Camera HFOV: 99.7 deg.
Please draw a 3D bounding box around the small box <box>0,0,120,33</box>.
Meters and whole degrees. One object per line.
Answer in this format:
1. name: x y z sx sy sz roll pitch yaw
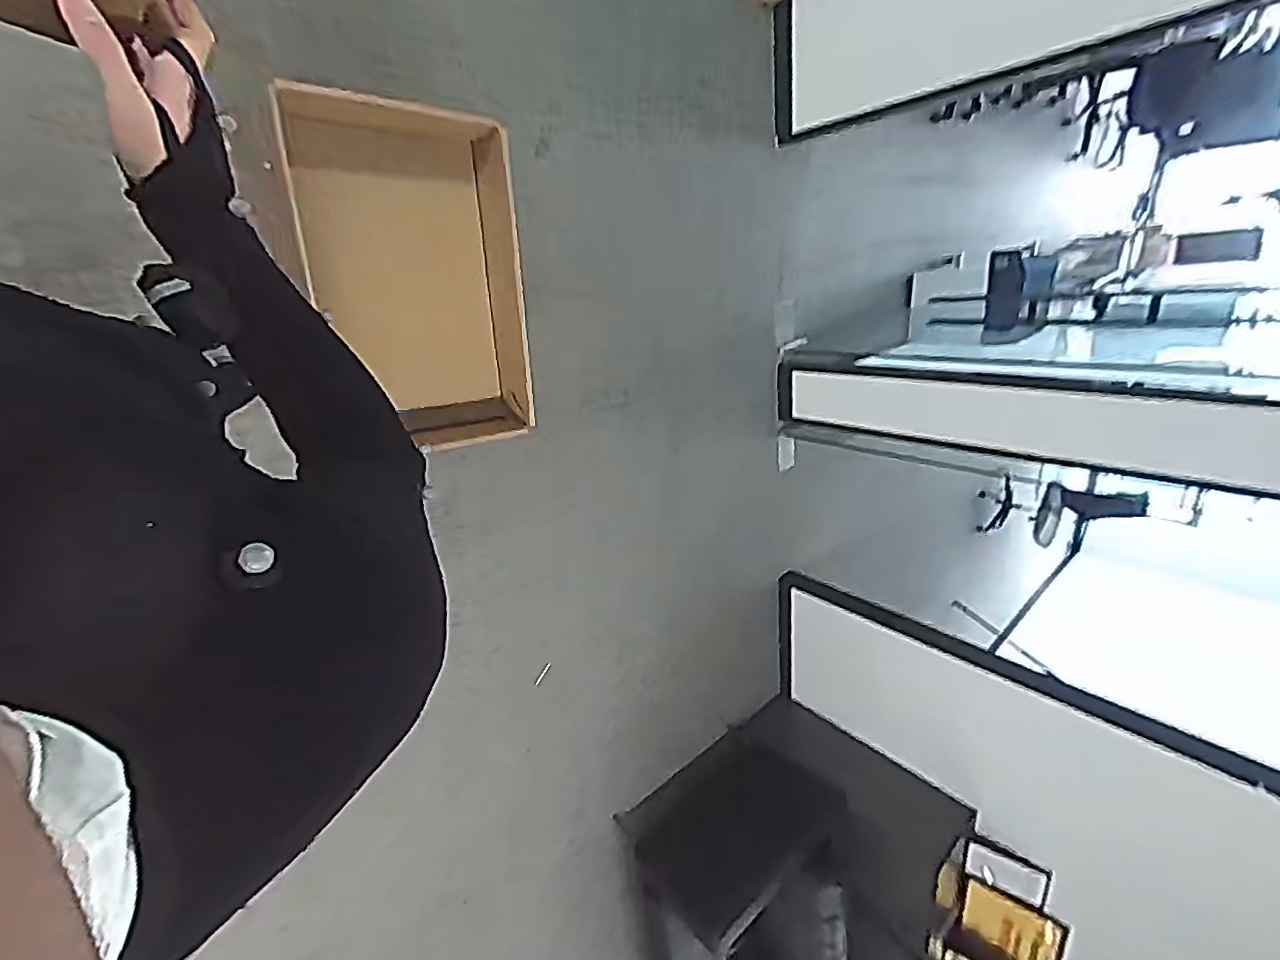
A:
1. small box: -0.430 -0.413 0.319 0.179 0.176 0.168 -9 105 -48
